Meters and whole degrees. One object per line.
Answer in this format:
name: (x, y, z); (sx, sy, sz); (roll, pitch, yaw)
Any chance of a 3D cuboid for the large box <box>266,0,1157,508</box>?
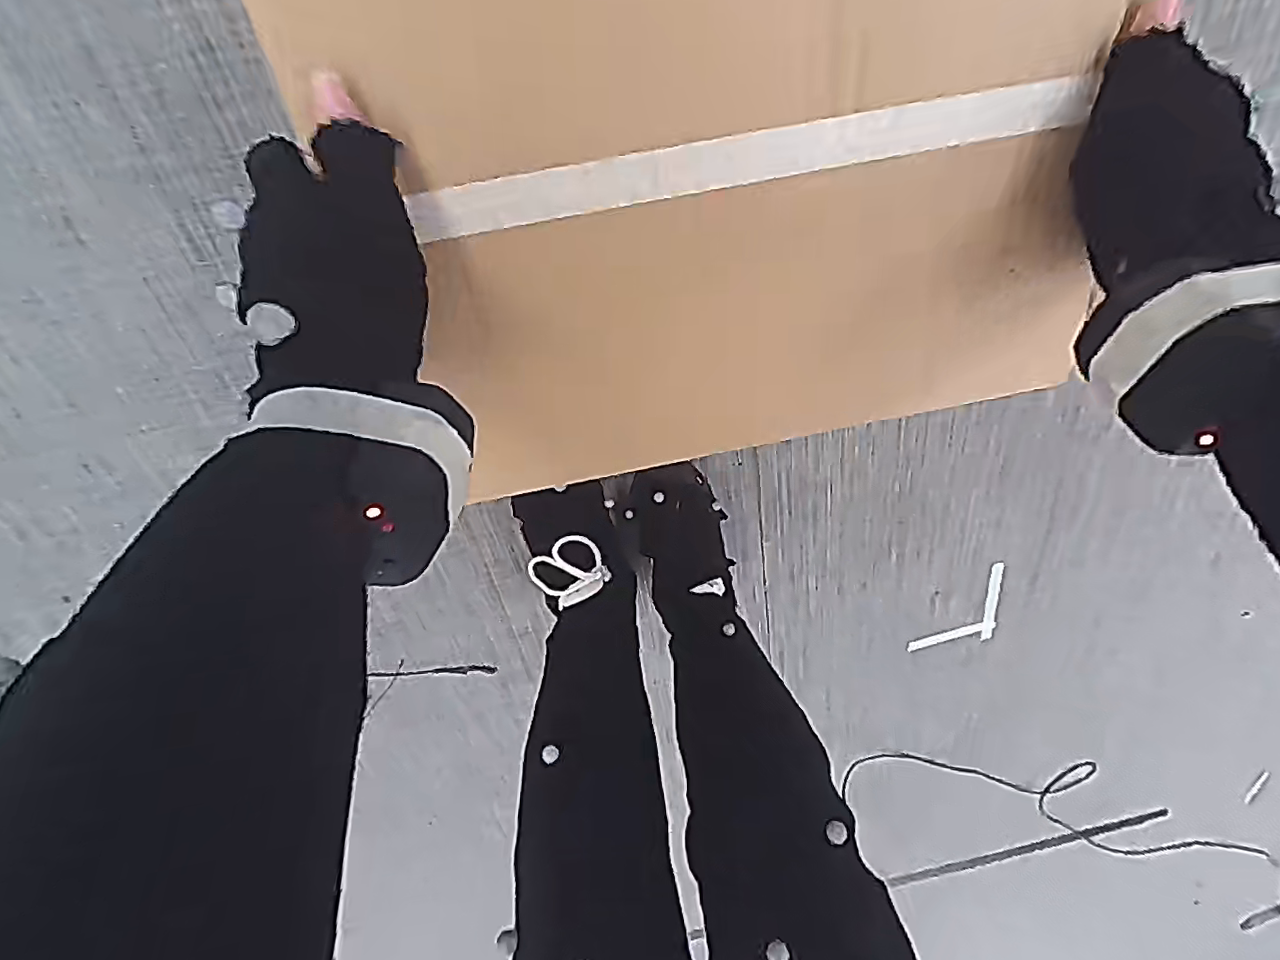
large box: (0.035, -0.223, 0.403); (0.408, 0.320, 0.320); (-12, 121, -3)
